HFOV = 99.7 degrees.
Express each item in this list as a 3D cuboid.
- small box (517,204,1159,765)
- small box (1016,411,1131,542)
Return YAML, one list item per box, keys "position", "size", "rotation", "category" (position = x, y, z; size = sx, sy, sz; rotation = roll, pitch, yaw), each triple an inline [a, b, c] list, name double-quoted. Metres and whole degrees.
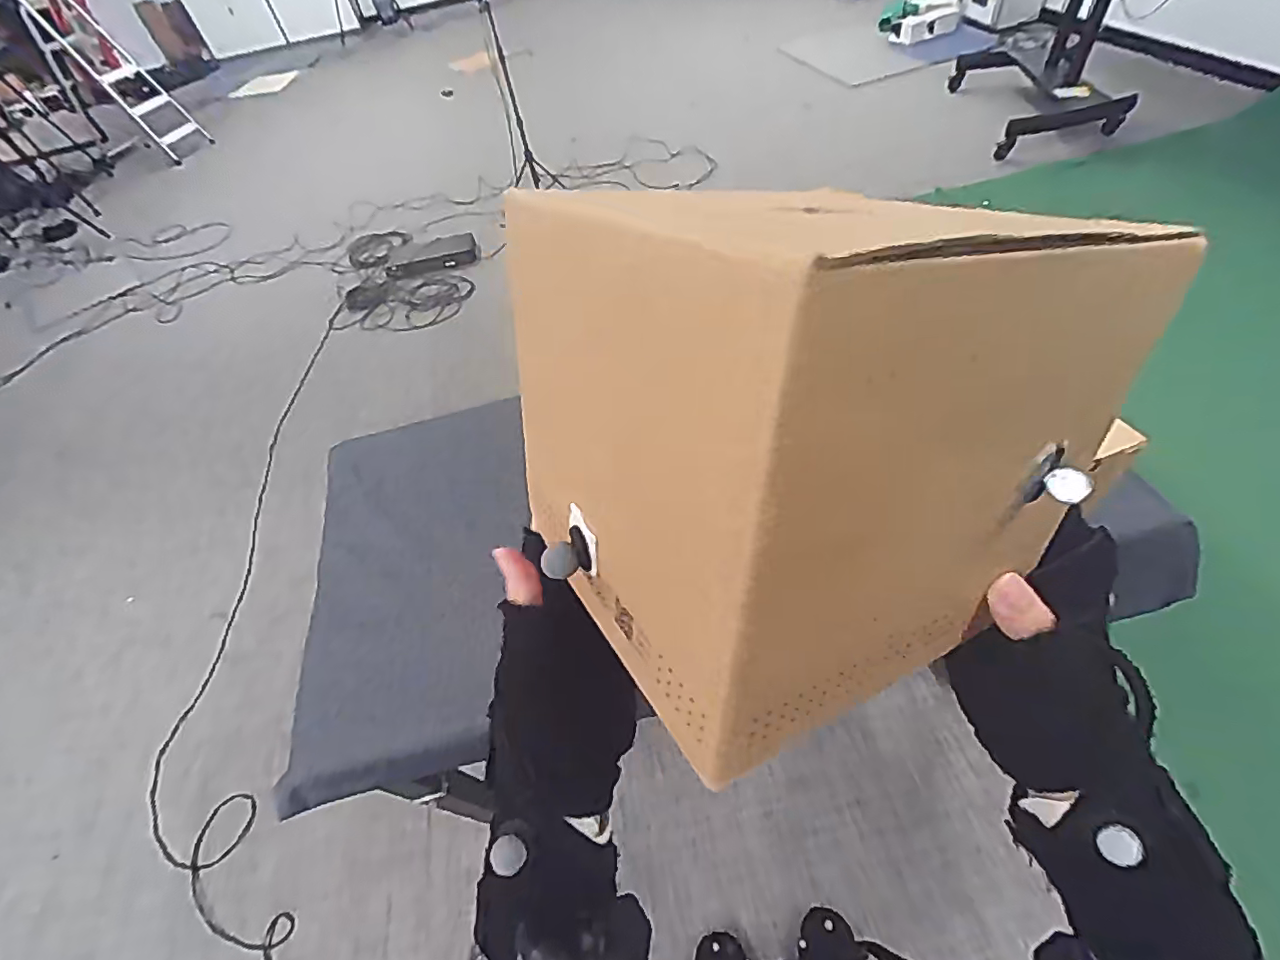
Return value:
- position: [0.059, -0.021, 0.242]
  size: [0.179, 0.176, 0.168]
  rotation: [-16, 35, -27]
  category: "small box"
- position: [0.479, -0.020, 0.731]
  size: [0.168, 0.176, 0.179]
  rotation: [-19, 50, -5]
  category: "small box"
